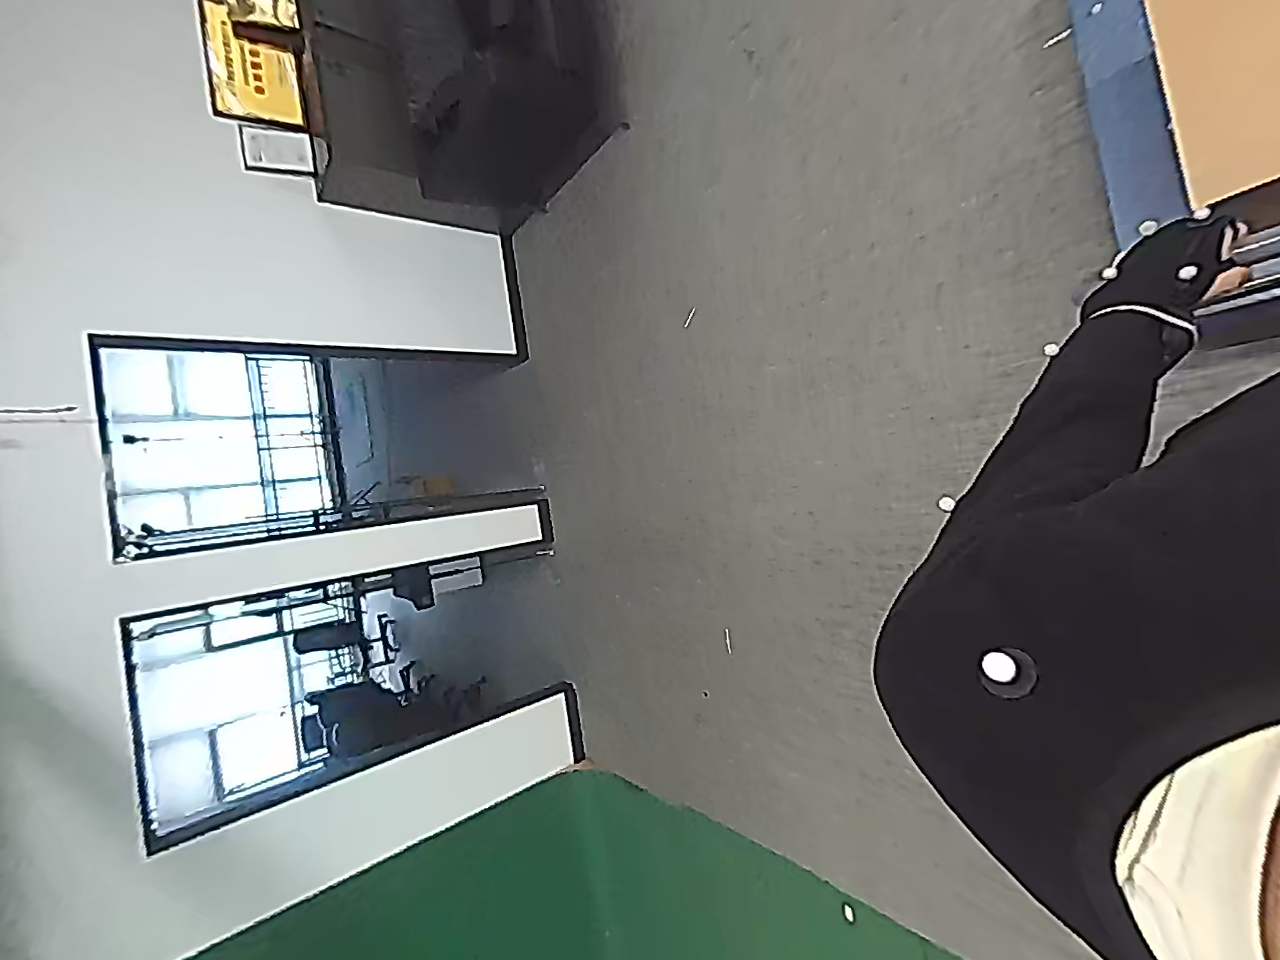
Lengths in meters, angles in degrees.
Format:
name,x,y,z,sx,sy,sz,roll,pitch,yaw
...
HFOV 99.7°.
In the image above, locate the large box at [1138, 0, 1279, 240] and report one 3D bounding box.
name,x,y,z,sx,sy,sz,roll,pitch,yaw
large box,1.026,-0.646,0.812,0.320,0.320,0.408,-14,84,52
